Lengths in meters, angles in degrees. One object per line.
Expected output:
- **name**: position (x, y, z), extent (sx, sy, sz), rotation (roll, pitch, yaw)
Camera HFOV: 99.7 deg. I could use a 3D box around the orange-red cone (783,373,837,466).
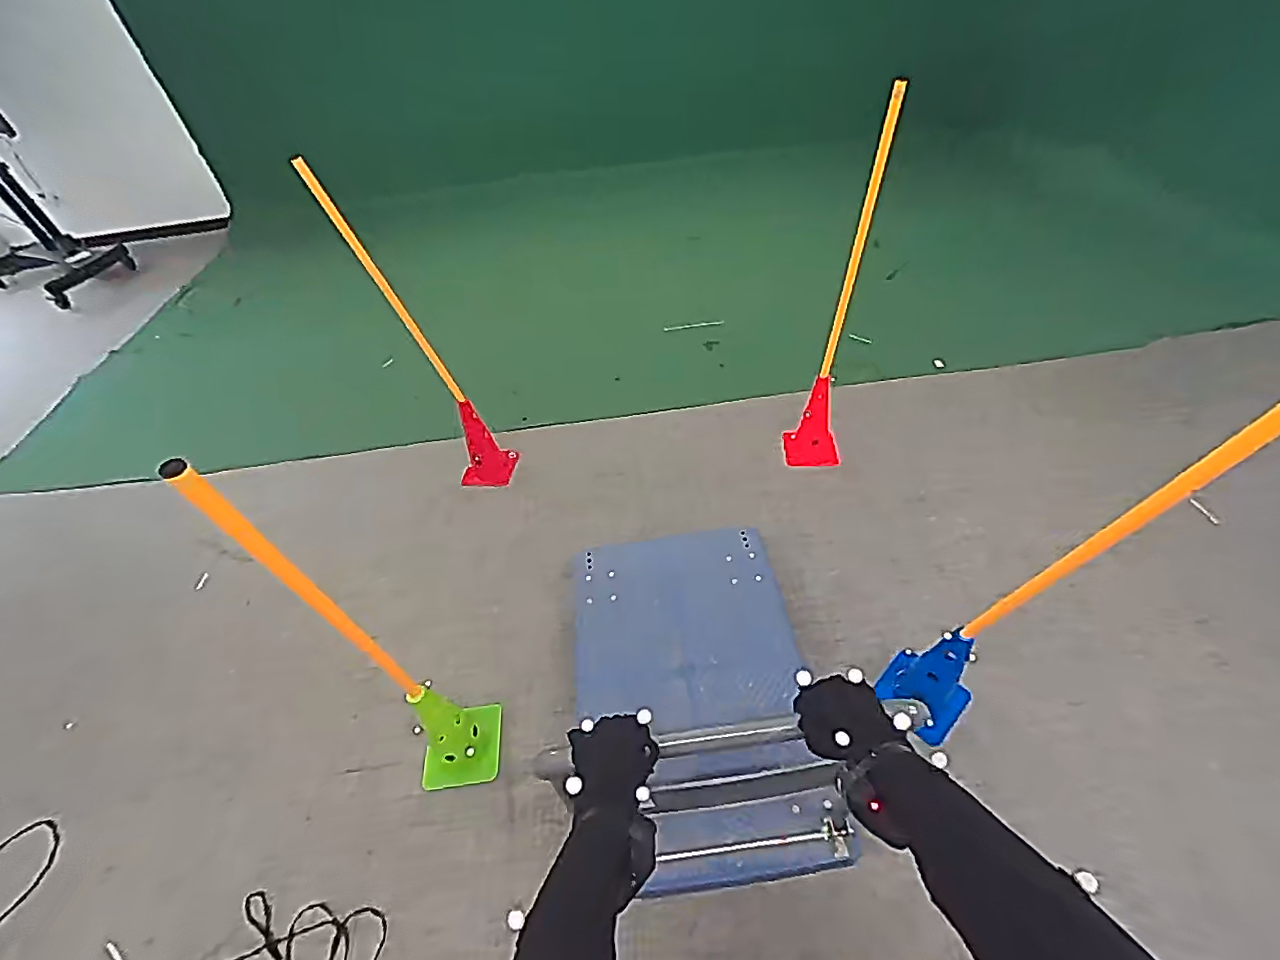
- **orange-red cone**: position (0.654, -0.241, 2.018), extent (0.198, 0.360, 0.199), rotation (0, 47, 8)
